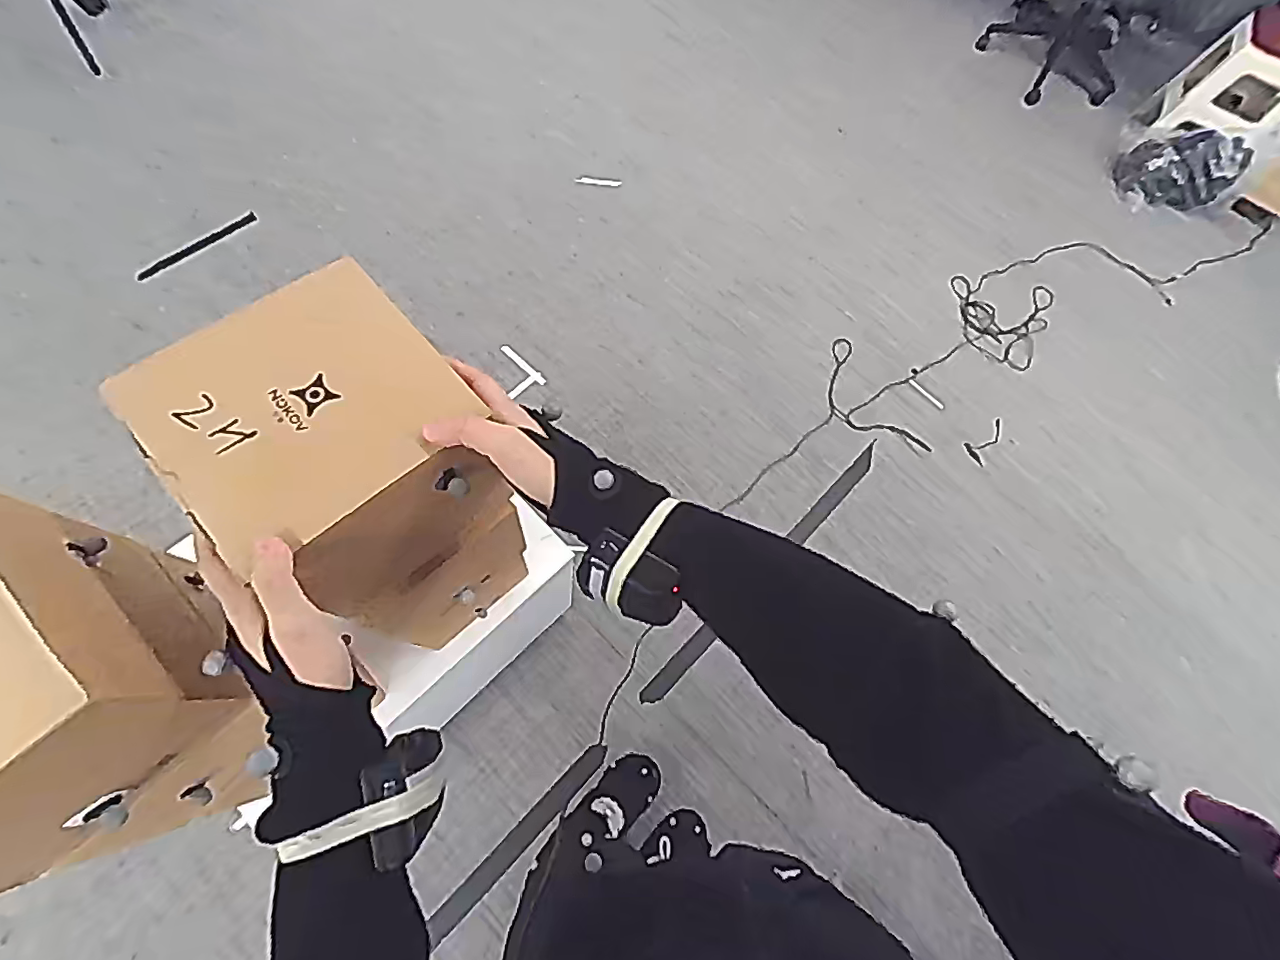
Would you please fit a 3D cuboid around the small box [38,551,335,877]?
[{"bbox_3d":[-0.420,0.194,0.487,0.179,0.176,0.168,43,70,10],"label":"small box"}]

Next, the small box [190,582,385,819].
[{"bbox_3d":[-0.441,0.251,0.637,0.168,0.176,0.179,-42,78,-19],"label":"small box"}]

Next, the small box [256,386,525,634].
[{"bbox_3d":[-0.240,0.042,0.567,0.168,0.176,0.179,-40,80,-19],"label":"small box"}]

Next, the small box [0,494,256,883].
[{"bbox_3d":[-0.401,0.133,0.337,0.179,0.176,0.168,43,71,9],"label":"small box"}]
